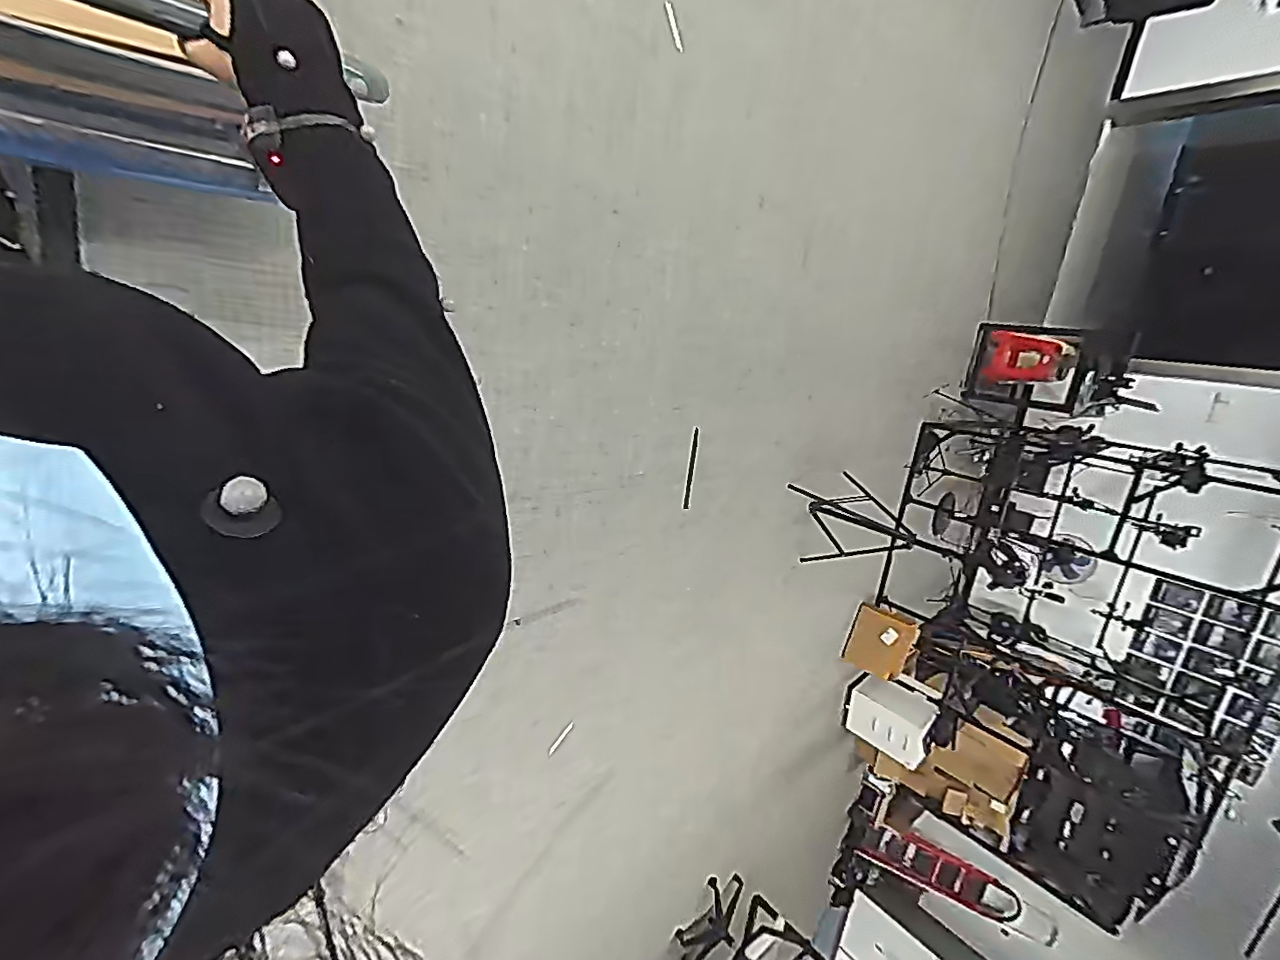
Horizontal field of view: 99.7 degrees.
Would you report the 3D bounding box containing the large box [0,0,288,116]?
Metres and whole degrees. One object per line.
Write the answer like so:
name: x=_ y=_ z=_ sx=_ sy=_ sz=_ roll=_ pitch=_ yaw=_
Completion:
large box: x=-0.750 y=-0.725 z=0.704 sx=0.408 sy=0.320 sz=0.320 roll=-15 pitch=116 yaw=-42
